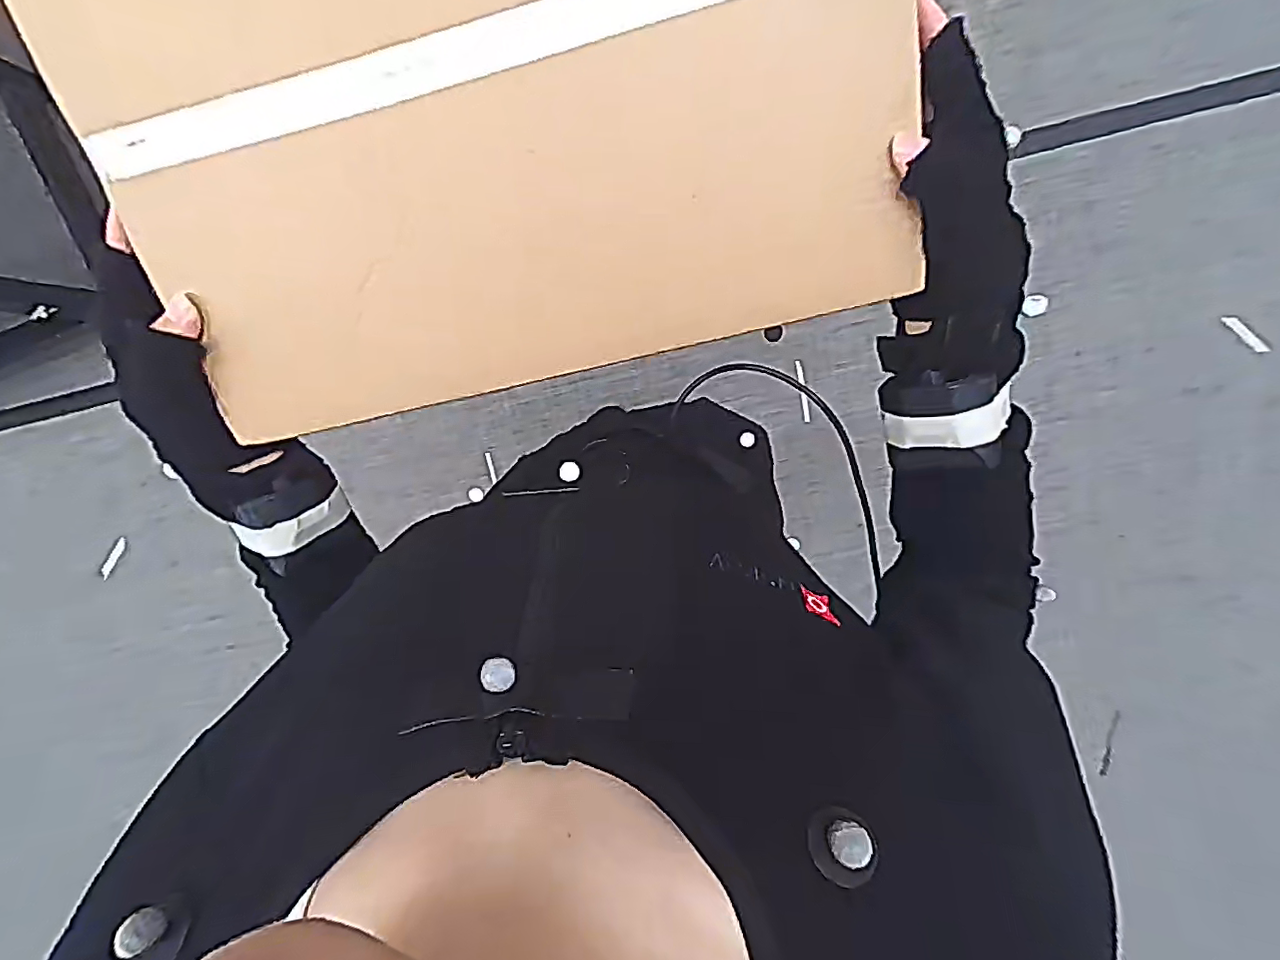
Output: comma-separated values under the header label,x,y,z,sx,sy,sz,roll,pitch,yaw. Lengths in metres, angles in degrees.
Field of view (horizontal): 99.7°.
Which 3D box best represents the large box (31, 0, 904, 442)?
label,x,y,z,sx,sy,sz,roll,pitch,yaw
large box,-0.077,-0.259,0.404,0.408,0.320,0.320,-12,110,6
